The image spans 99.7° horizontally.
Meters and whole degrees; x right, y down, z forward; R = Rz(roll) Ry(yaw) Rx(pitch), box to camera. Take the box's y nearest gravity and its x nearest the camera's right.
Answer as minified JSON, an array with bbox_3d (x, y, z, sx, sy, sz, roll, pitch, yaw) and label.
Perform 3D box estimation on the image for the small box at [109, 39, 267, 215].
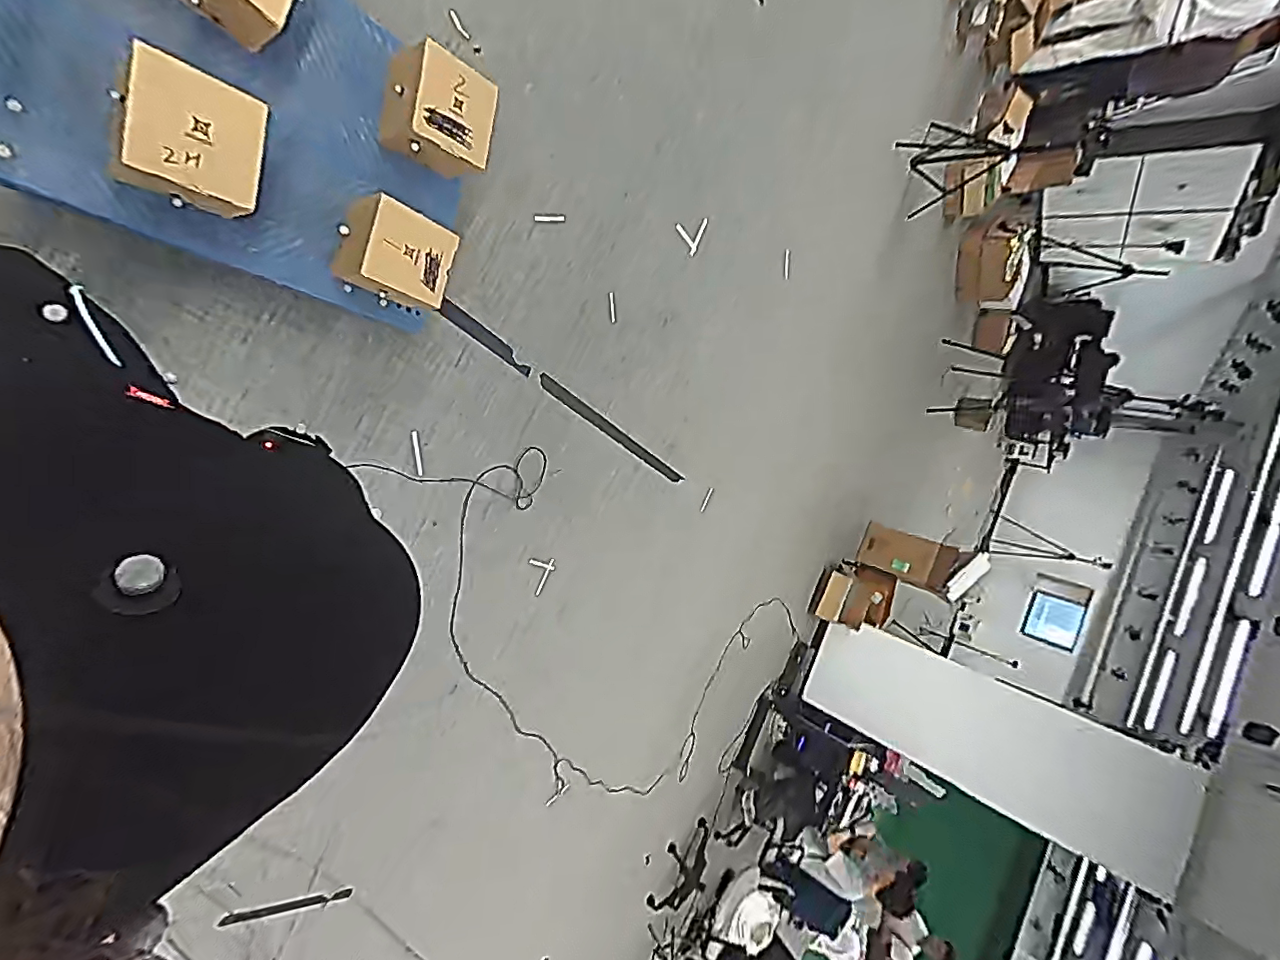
[{"bbox_3d":[-0.743,-0.560,0.887,0.168,0.176,0.179,5,100,-50],"label":"small box"}]

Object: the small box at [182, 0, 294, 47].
[{"bbox_3d":[-0.661,-0.855,0.868,0.168,0.176,0.179,19,91,-52],"label":"small box"}]

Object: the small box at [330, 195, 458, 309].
[{"bbox_3d":[-0.532,-0.487,1.167,0.179,0.176,0.168,15,93,-50],"label":"small box"}]
